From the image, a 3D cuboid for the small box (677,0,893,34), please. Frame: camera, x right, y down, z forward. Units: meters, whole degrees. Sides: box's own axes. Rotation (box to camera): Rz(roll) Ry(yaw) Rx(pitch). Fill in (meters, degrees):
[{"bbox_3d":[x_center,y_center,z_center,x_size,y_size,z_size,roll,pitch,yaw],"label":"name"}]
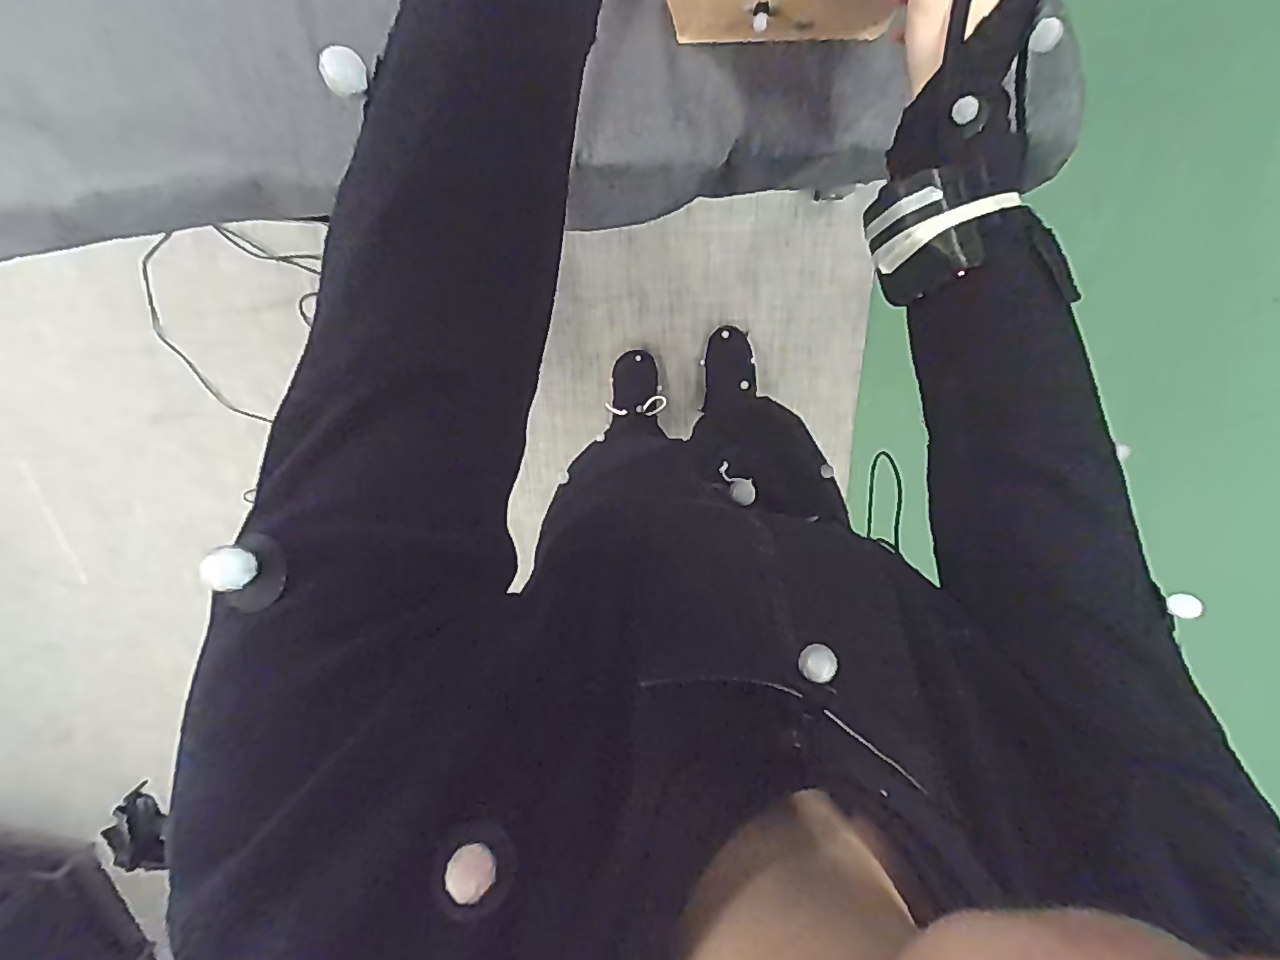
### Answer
[{"bbox_3d":[0.100,-0.414,0.332,0.168,0.176,0.179,5,113,8],"label":"small box"}]
